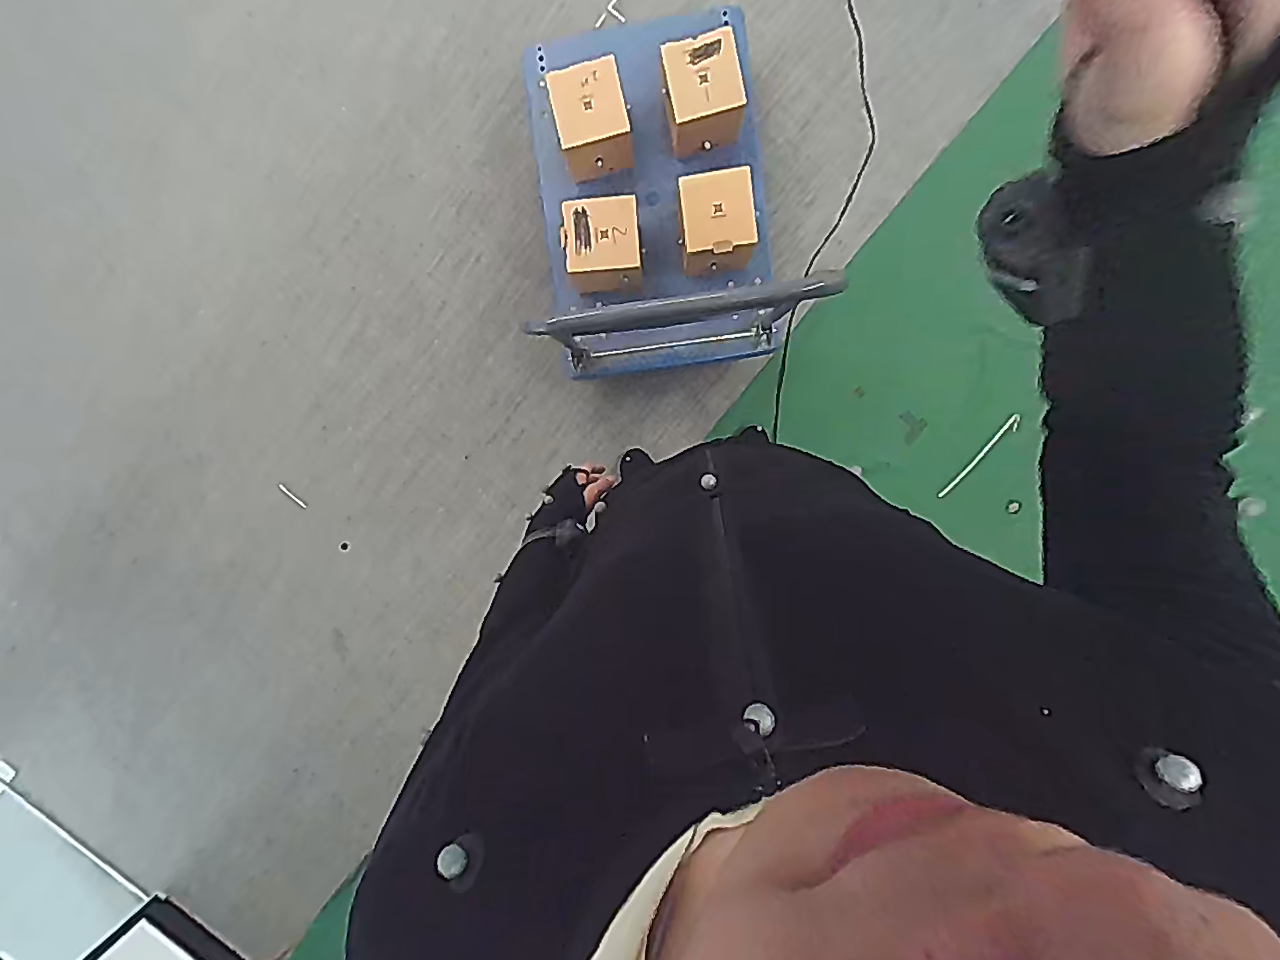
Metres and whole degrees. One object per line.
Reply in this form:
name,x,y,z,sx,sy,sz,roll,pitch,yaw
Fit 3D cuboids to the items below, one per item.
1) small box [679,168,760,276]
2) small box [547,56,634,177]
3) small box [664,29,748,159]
small box,0.187,-0.620,1.316,0.168,0.176,0.179,-7,94,3
small box,-0.112,-0.865,1.312,0.168,0.176,0.179,-13,93,3
small box,0.152,-0.913,1.293,0.168,0.176,0.179,-12,94,5
